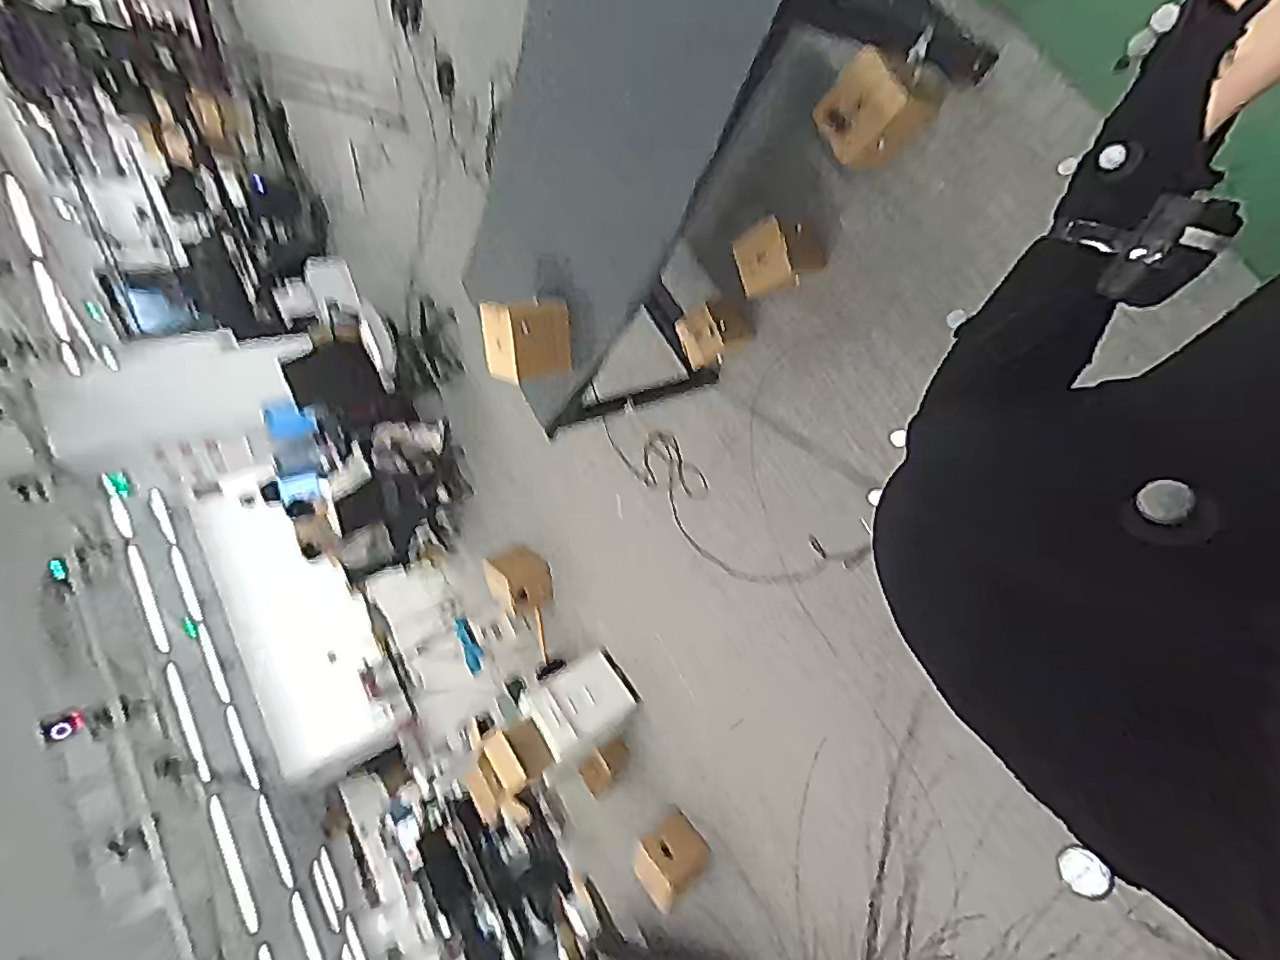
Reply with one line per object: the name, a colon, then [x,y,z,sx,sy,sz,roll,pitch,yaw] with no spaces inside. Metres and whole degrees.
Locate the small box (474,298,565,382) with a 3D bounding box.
small box: [-0.308,-0.369,1.406,0.168,0.176,0.179,26,127,44]

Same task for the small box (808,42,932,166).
small box: [0.544,-0.876,1.280,0.179,0.176,0.168,-39,76,53]

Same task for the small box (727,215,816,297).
small box: [0.394,-0.661,1.591,0.179,0.176,0.168,-14,96,56]

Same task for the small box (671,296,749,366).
small box: [0.242,-0.514,1.866,0.179,0.176,0.168,-28,85,56]
